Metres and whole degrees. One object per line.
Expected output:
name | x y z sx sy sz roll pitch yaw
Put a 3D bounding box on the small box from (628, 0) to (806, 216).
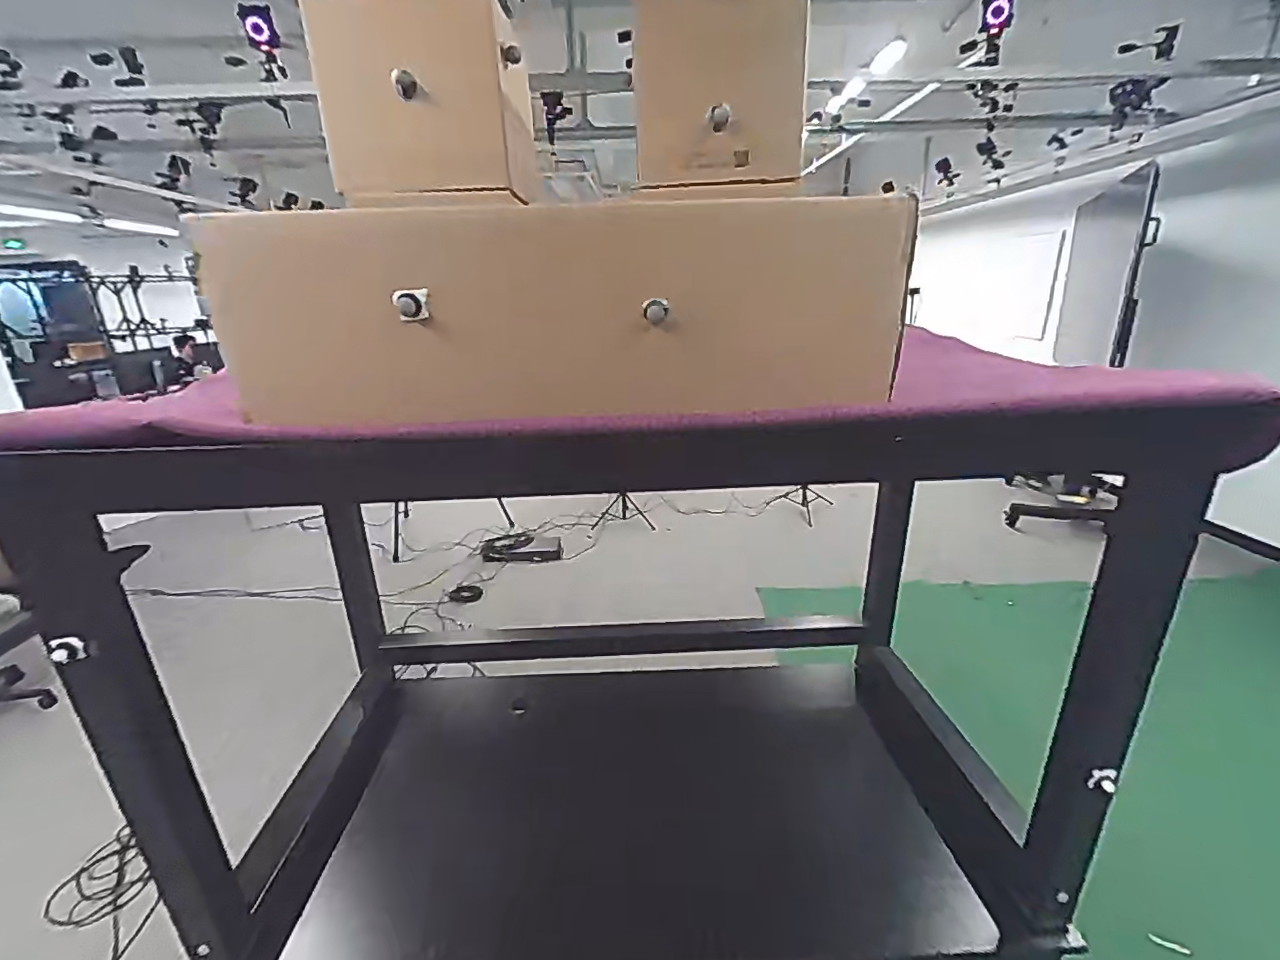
small box | 0.076 -0.397 0.599 0.168 0.176 0.179 -3 19 2
